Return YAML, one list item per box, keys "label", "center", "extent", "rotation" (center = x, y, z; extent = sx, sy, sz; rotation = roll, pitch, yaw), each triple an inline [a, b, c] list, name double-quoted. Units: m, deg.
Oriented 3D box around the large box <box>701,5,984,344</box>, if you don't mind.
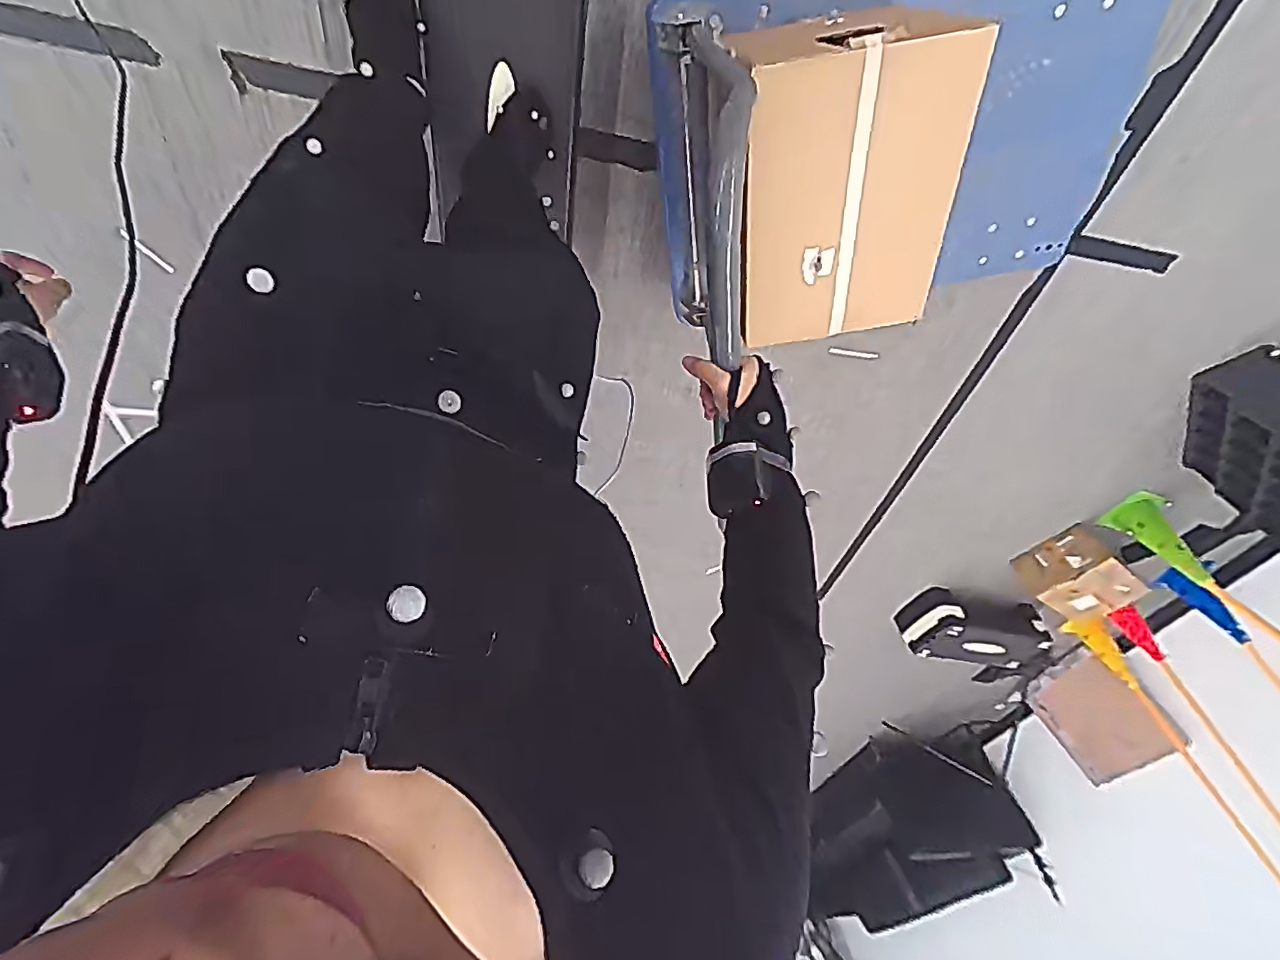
- label: "large box"
  center: [0.292, -0.507, 0.919]
  extent: [0.320, 0.320, 0.408]
  rotation: [-9, 135, 1]
